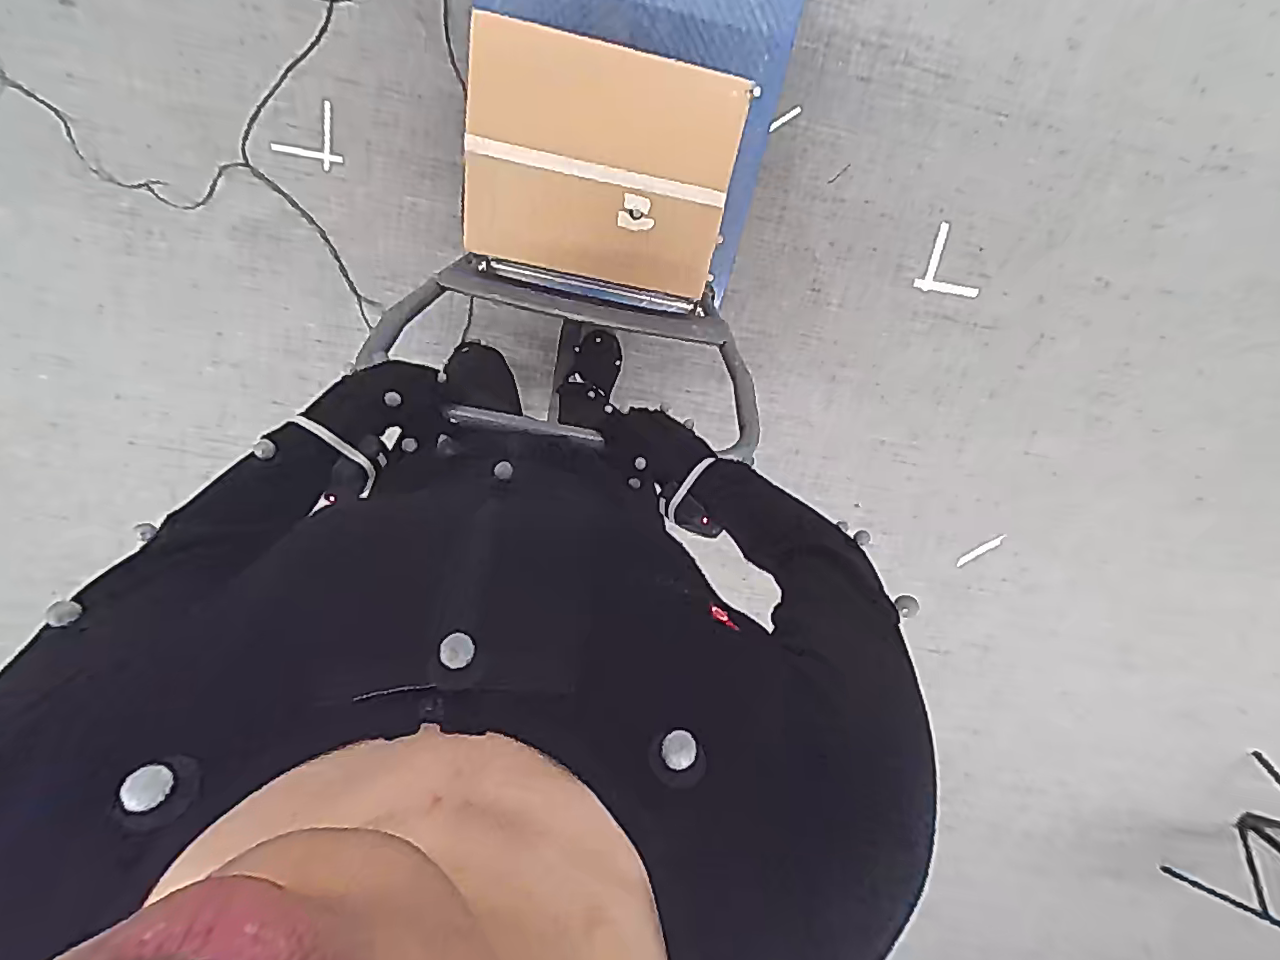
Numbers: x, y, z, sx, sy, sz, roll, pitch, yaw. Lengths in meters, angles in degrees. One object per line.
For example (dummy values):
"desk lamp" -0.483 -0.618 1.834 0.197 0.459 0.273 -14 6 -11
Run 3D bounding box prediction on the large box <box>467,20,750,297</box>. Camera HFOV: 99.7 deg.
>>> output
"large box" -0.069 -0.543 0.958 0.408 0.320 0.320 9 120 -7
